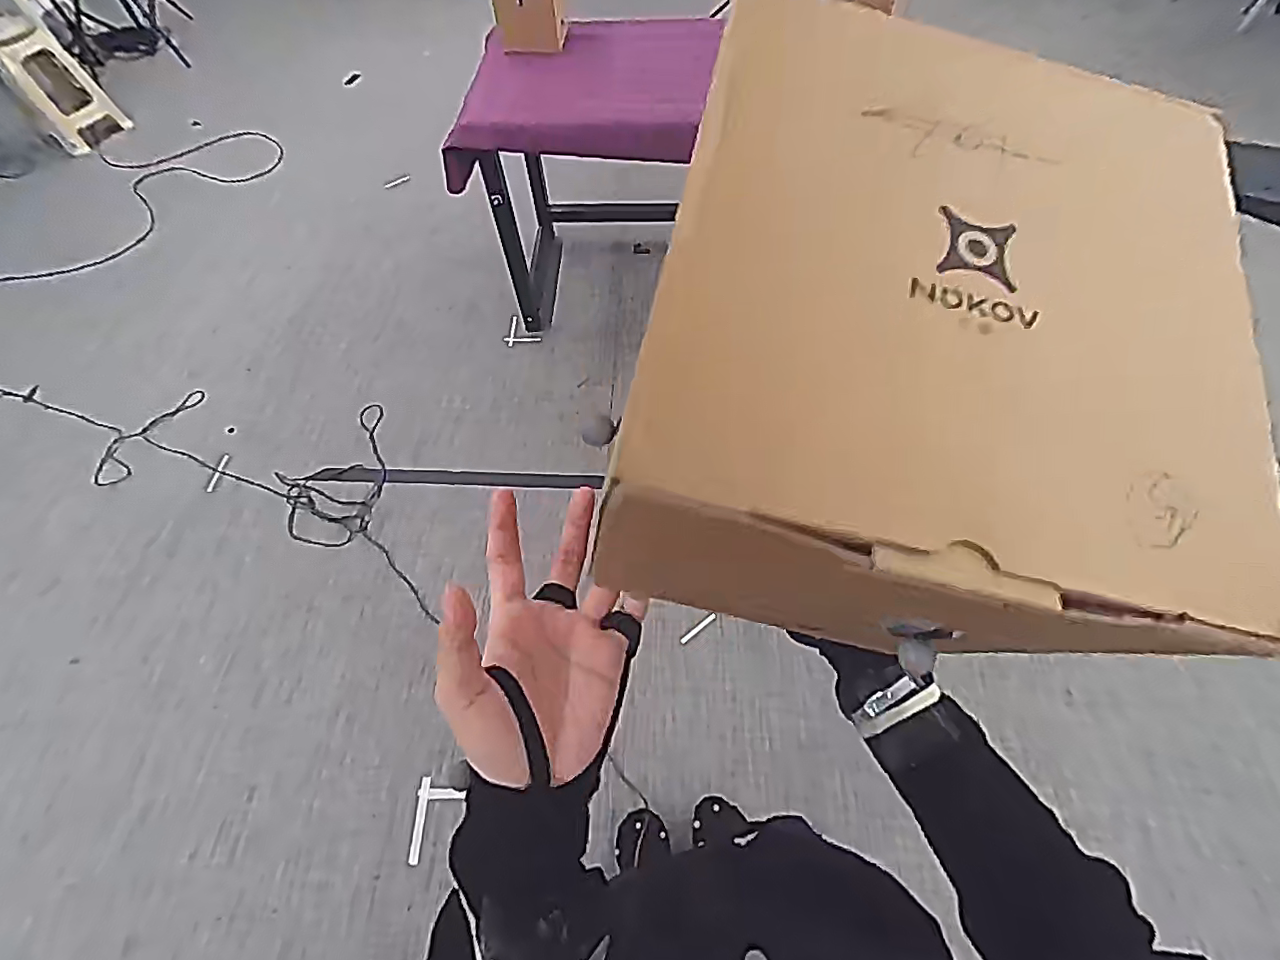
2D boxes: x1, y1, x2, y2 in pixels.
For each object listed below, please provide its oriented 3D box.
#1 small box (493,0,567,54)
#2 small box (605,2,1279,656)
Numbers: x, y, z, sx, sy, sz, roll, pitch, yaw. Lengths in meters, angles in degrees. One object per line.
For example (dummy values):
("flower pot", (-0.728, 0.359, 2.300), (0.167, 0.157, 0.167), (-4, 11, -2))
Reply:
("small box", (-0.317, -1.359, 1.554), (0.179, 0.176, 0.168), (4, 62, 3))
("small box", (0.082, -0.032, 0.226), (0.168, 0.176, 0.179), (13, 71, -3))
